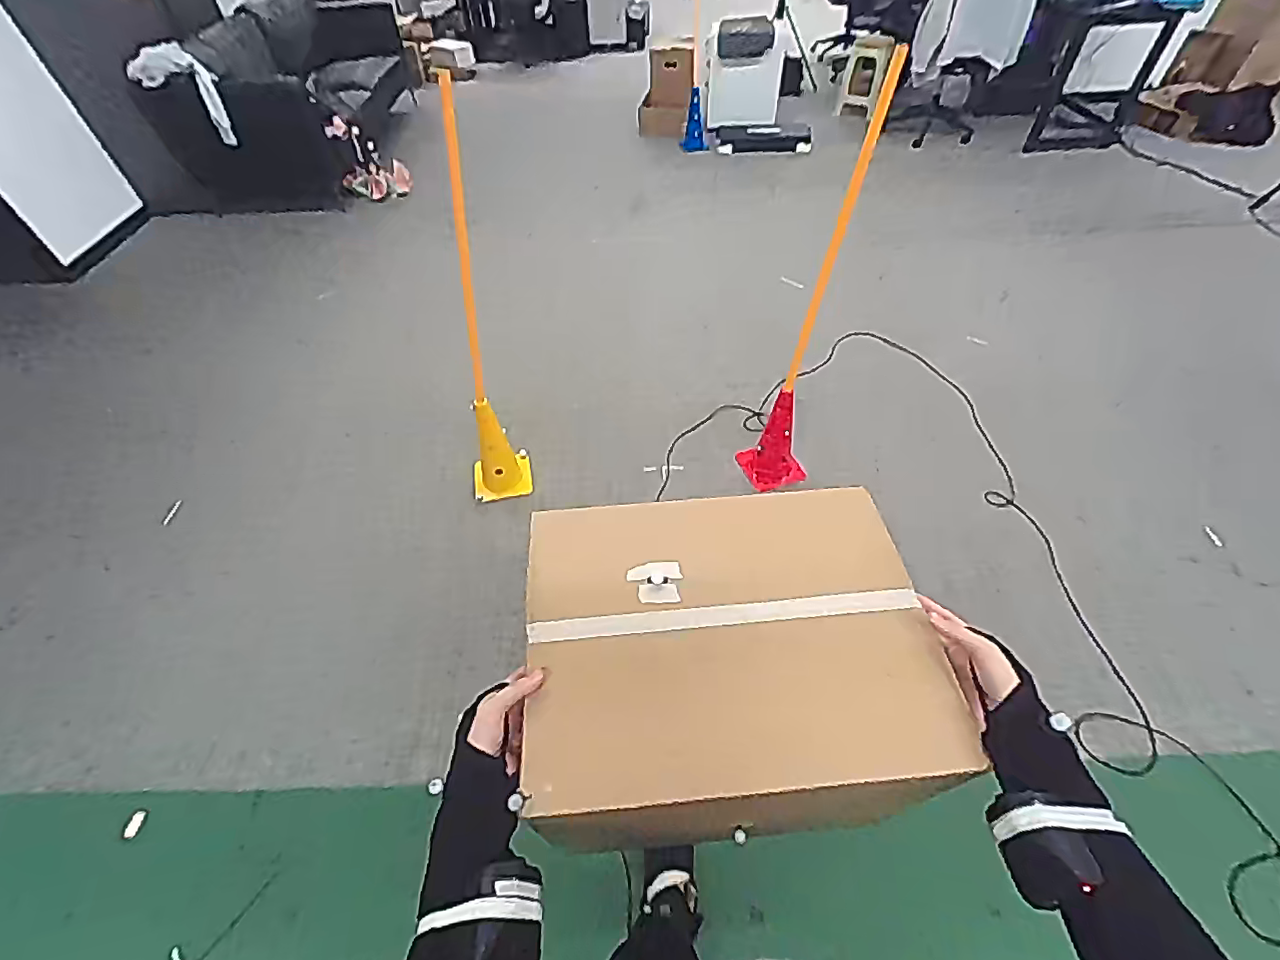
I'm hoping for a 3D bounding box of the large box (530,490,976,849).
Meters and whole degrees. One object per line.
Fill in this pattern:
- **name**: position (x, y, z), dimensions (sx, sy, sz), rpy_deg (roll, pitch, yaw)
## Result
- **large box**: position (0.094, 0.243, 0.677), dimensions (0.408, 0.320, 0.320), rpy_deg (-5, 49, -2)
